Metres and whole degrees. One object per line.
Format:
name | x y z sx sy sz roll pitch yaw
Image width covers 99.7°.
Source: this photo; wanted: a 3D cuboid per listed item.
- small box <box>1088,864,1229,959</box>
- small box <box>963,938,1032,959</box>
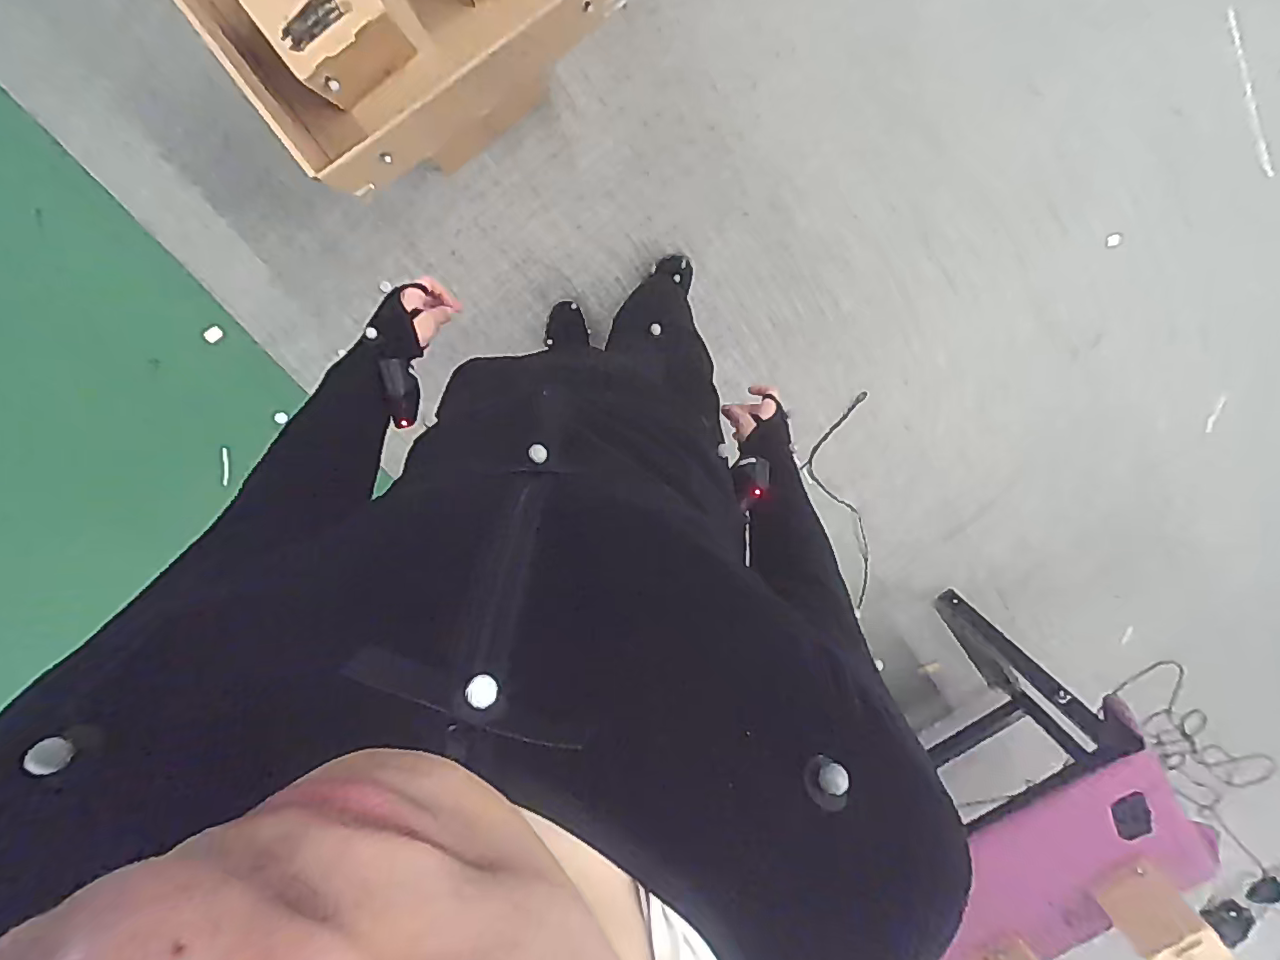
small box | 1.280 1.106 1.347 0.168 0.176 0.179 -41 109 10
small box | 0.991 1.357 1.414 0.168 0.176 0.179 -38 109 8
